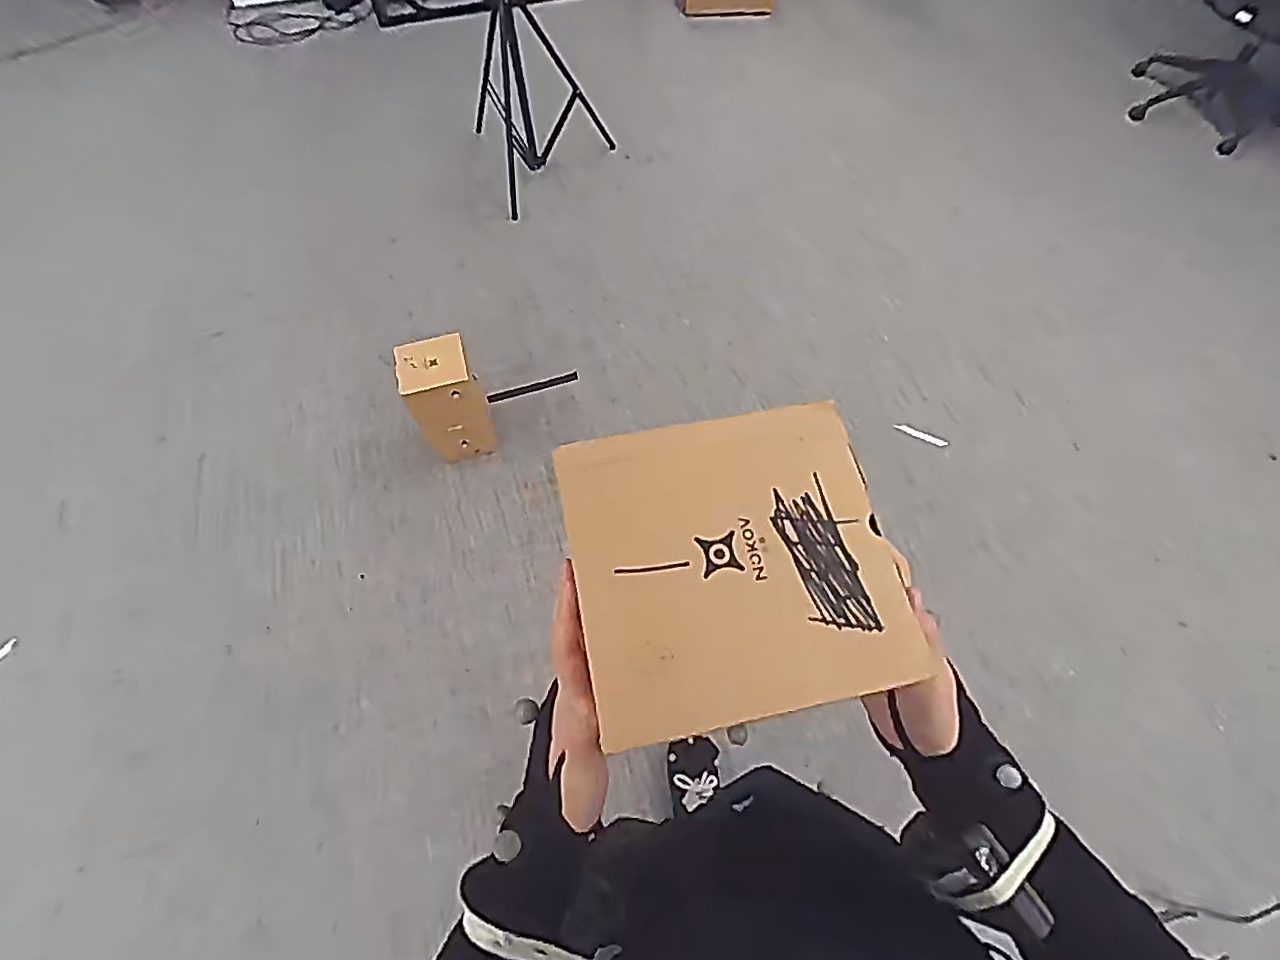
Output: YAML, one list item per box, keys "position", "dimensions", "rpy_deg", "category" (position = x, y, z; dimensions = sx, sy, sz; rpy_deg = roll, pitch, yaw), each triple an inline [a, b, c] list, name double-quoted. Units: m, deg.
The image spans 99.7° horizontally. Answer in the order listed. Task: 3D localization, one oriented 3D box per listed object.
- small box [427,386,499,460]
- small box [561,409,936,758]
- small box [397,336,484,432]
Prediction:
- position: [-0.530, -0.177, 1.608]
  dimensions: [0.168, 0.176, 0.179]
  rpy_deg: [-15, 65, -7]
  category: "small box"
- position: [0.048, 0.074, 0.367]
  dimensions: [0.179, 0.176, 0.168]
  rpy_deg: [-10, 68, -7]
  category: "small box"
- position: [-0.530, -0.255, 1.461]
  dimensions: [0.179, 0.176, 0.168]
  rpy_deg: [-16, 63, -7]
  category: "small box"
